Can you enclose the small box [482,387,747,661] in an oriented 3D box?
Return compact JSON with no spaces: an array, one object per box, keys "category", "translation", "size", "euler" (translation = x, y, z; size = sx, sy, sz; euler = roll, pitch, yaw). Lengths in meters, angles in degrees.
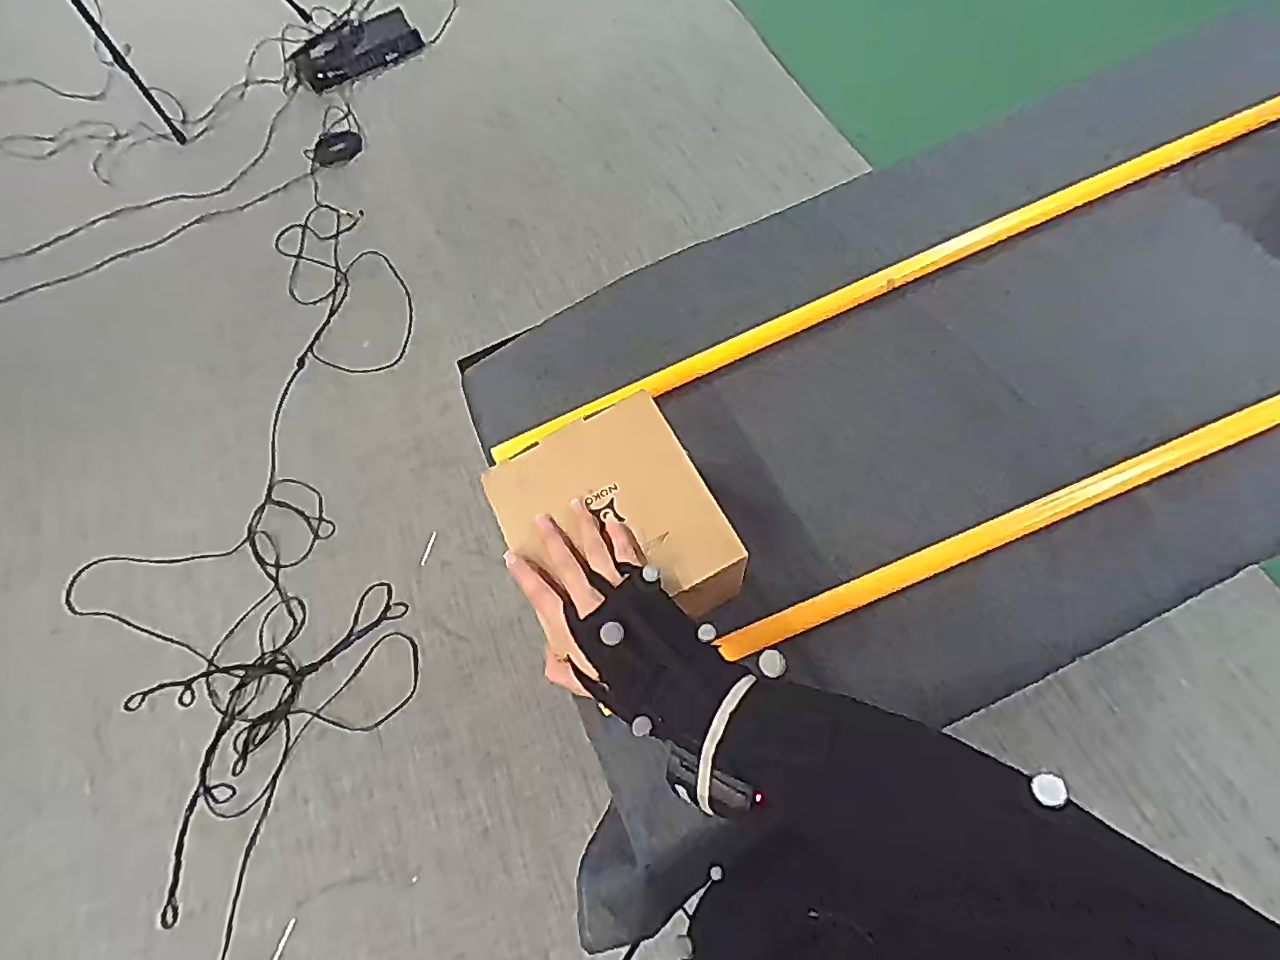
[{"category":"small box","translation":[-0.018,0.052,0.510],"size":[0.168,0.176,0.179],"euler":[-29,68,-3]}]
